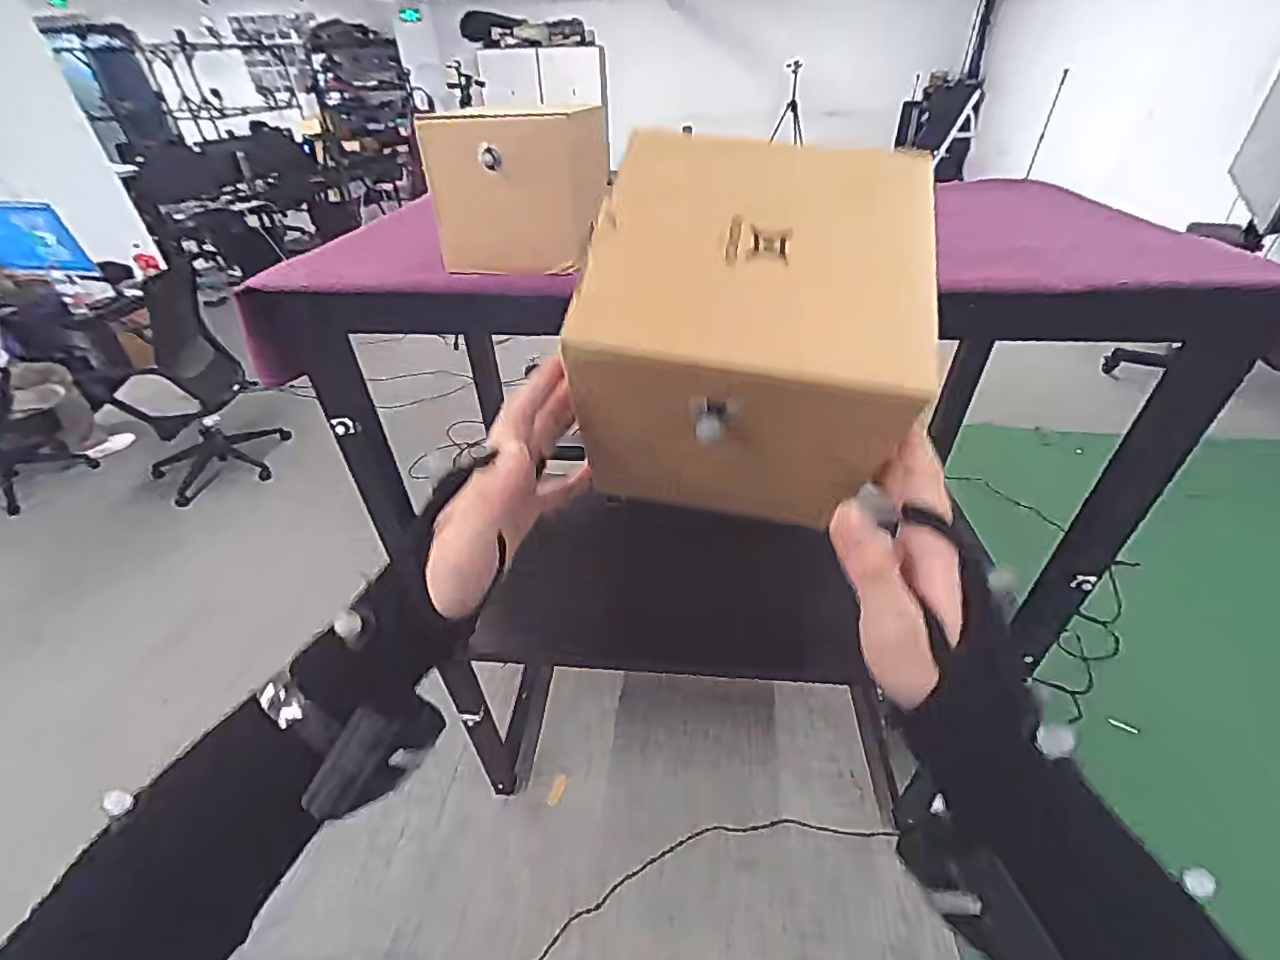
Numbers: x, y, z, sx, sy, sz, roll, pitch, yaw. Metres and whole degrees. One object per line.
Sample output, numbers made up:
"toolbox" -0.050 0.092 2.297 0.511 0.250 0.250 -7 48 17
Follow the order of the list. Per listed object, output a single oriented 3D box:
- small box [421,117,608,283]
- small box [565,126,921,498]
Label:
"small box" -0.143 -0.358 0.691 0.179 0.176 0.168 5 37 9
"small box" 0.066 -0.100 0.368 0.179 0.176 0.168 9 65 8
